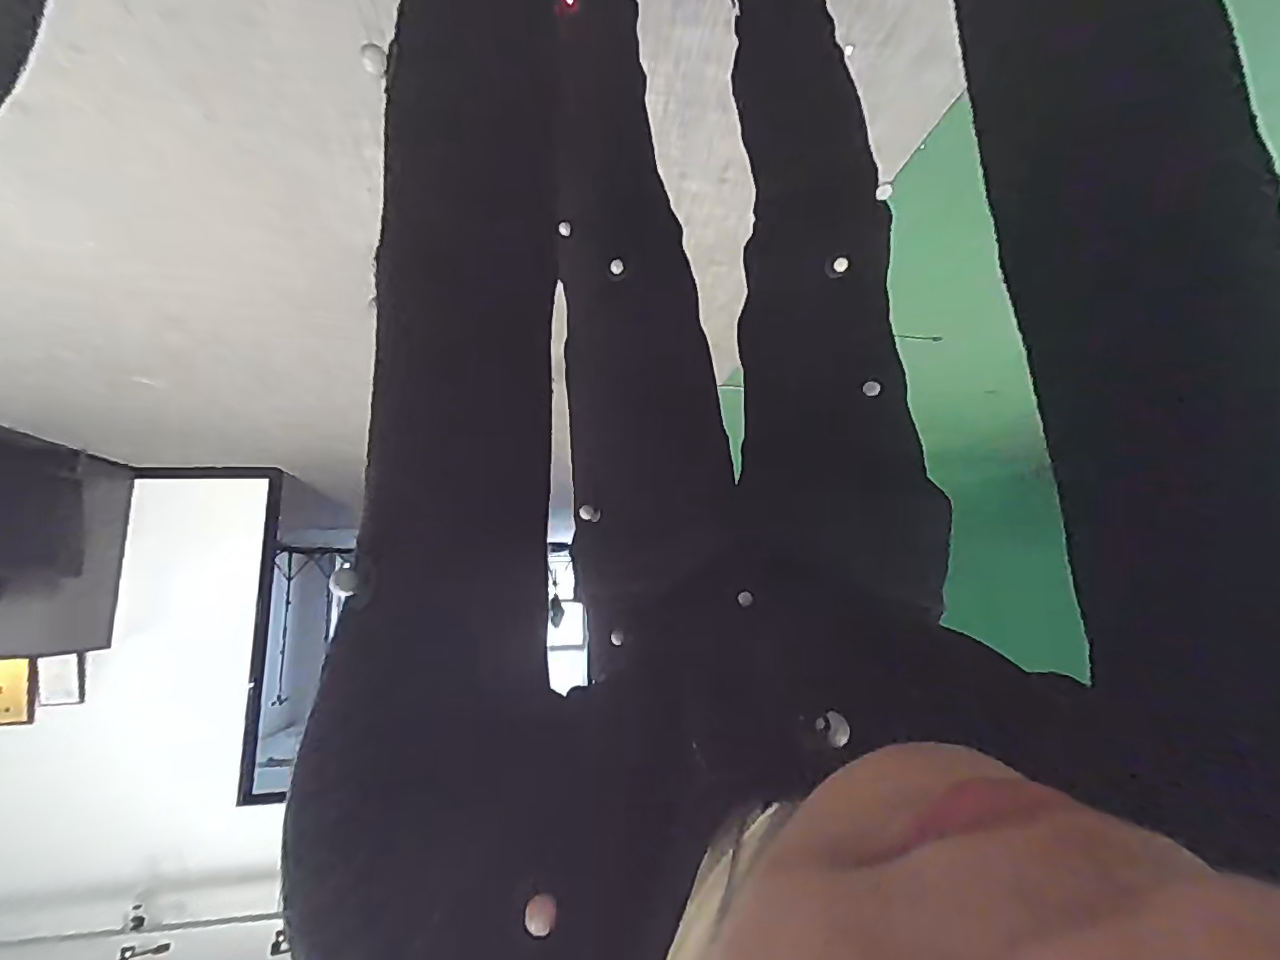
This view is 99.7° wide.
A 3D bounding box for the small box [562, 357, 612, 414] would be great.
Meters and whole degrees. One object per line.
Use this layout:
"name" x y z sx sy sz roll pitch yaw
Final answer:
"small box" -0.206 -0.359 2.059 0.168 0.176 0.179 2 169 -13
